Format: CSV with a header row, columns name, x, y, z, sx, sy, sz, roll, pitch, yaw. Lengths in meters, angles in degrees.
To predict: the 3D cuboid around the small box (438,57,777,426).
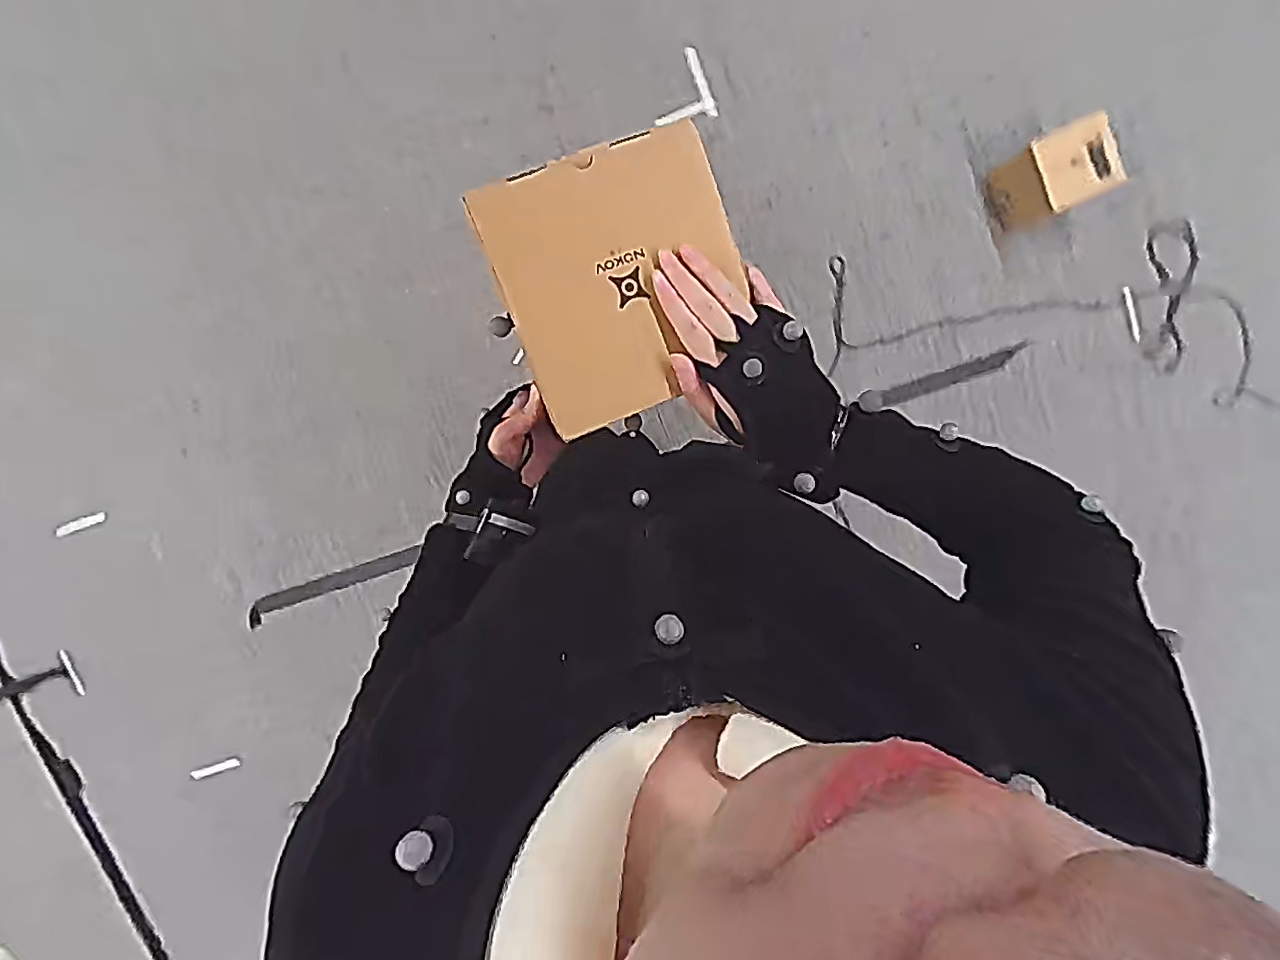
name,x,y,z,sx,sy,sz,roll,pitch,yaw
small box,-0.012,-0.160,0.408,0.179,0.176,0.168,-25,80,12
